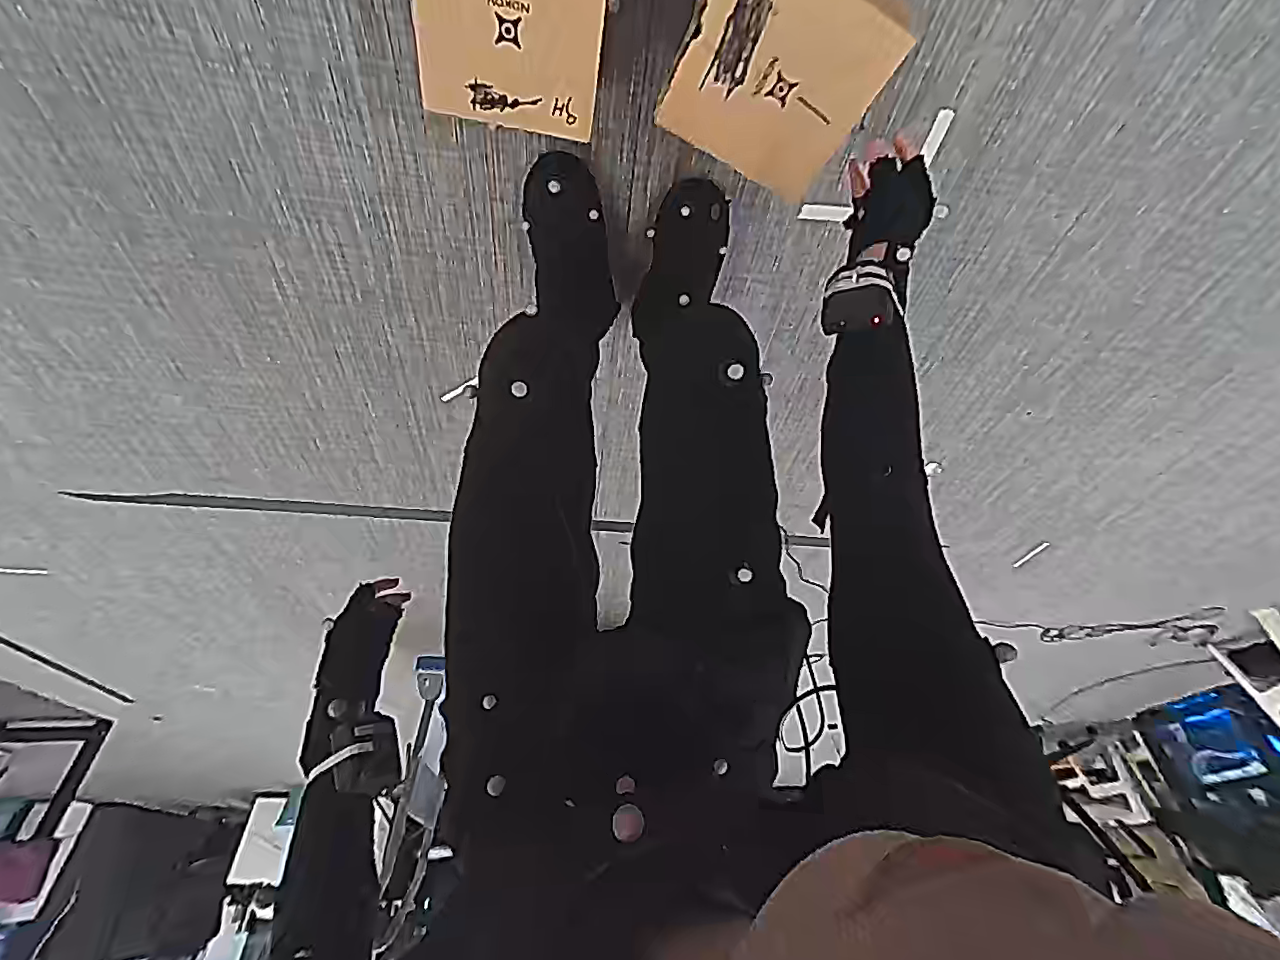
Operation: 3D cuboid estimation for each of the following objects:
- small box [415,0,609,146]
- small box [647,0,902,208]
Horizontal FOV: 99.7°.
[{"bbox_3d":[-0.117,-0.468,0.527,0.168,0.176,0.179,6,141,-10],"label":"small box"},{"bbox_3d":[0.129,-0.427,0.547,0.179,0.176,0.168,22,146,-15],"label":"small box"}]
